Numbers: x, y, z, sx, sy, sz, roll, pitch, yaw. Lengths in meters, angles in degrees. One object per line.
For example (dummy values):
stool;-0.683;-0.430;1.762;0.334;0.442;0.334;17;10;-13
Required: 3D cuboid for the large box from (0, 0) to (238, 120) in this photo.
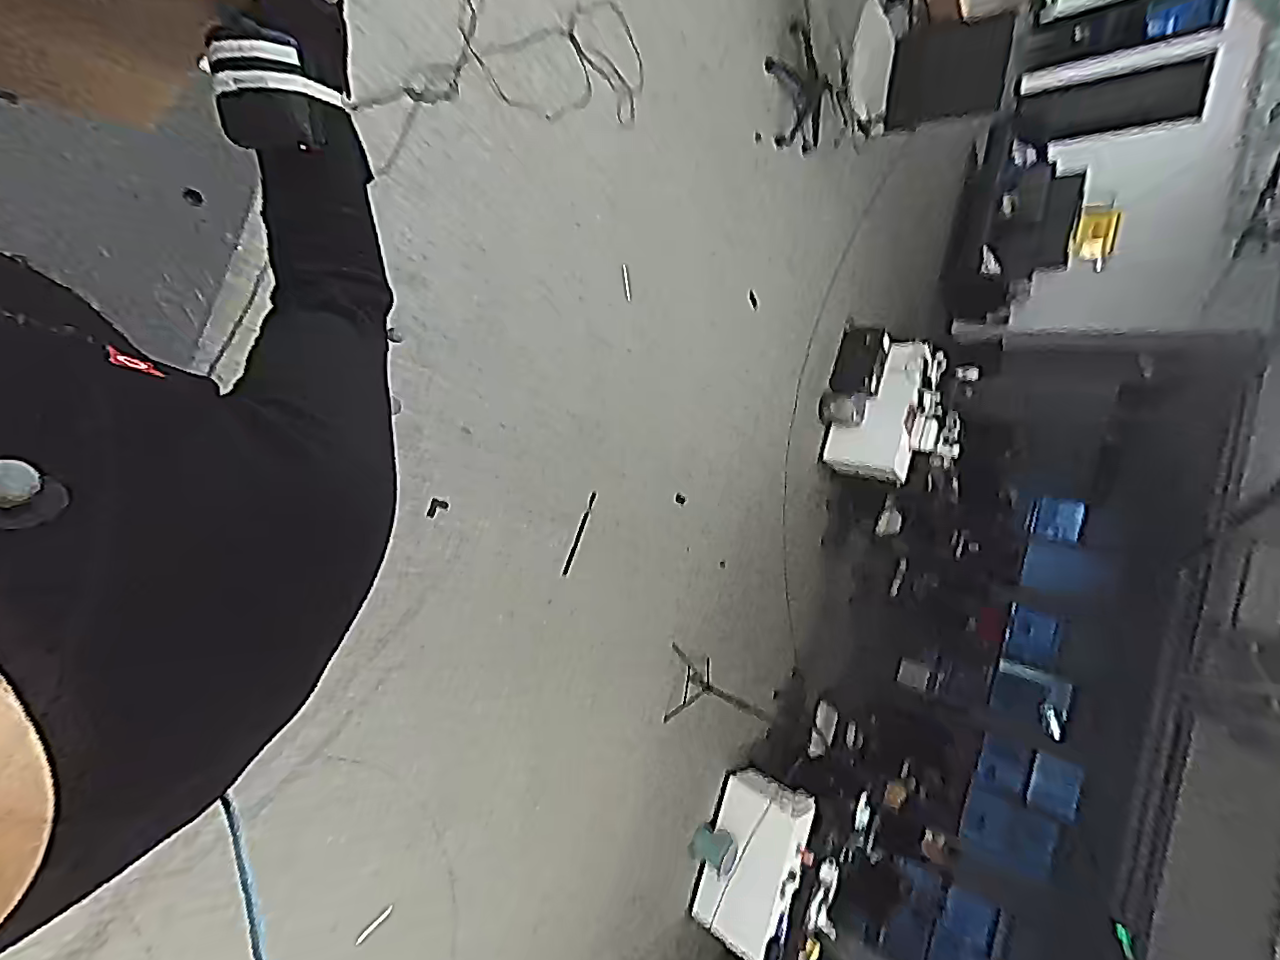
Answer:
large box;-0.483;-0.443;0.252;0.408;0.320;0.320;-13;108;-50
